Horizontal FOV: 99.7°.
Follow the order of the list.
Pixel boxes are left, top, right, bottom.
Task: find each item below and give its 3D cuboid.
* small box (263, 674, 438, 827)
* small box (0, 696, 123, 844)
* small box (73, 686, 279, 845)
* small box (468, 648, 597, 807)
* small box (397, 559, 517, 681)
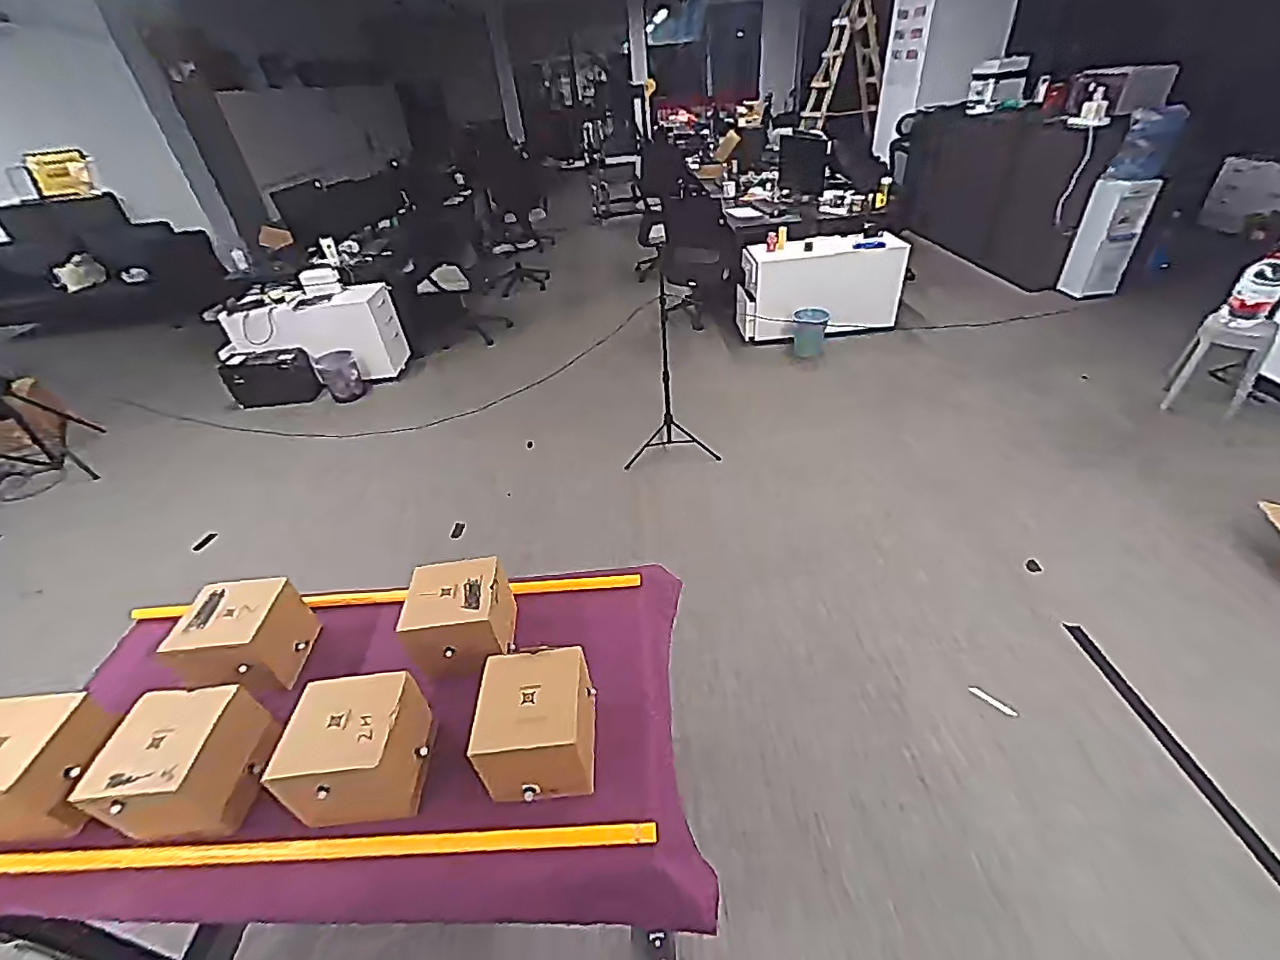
[{"bbox_3d":[-0.463,0.450,0.896,0.179,0.176,0.168,-6,36,0],"label":"small box"},{"bbox_3d":[-1.027,0.494,0.920,0.179,0.176,0.168,-5,36,1],"label":"small box"},{"bbox_3d":[-0.748,0.475,0.904,0.168,0.176,0.179,-6,36,2],"label":"small box"},{"bbox_3d":[-0.167,0.410,0.903,0.168,0.176,0.179,-7,35,2],"label":"small box"},{"bbox_3d":[-0.358,0.285,1.100,0.179,0.176,0.168,-8,38,0],"label":"small box"}]
